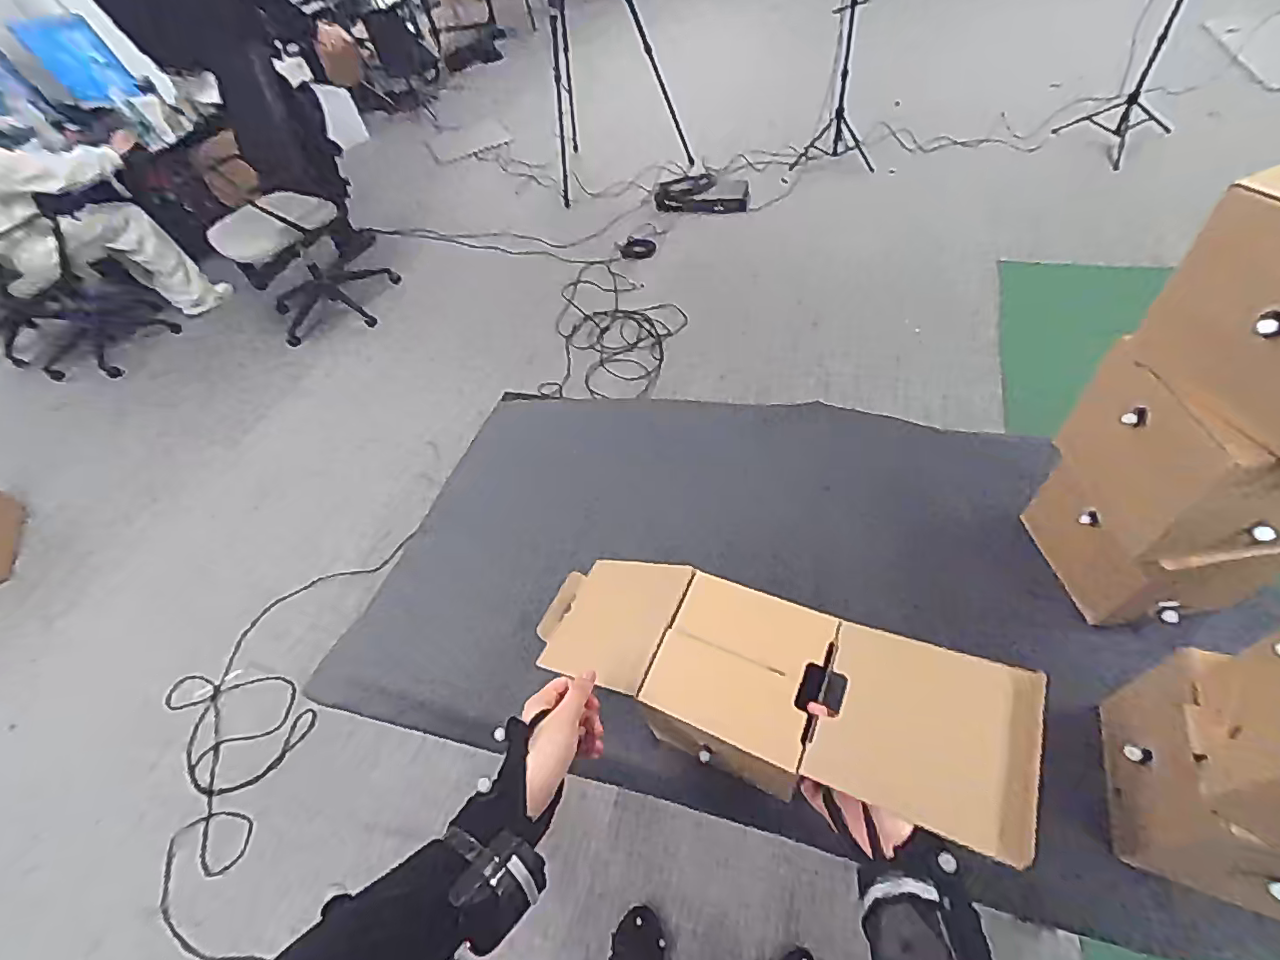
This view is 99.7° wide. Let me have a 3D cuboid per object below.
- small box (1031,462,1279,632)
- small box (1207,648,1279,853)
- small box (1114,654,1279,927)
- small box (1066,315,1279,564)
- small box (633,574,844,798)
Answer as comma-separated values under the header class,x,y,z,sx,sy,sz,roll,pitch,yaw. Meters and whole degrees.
class,x,y,z,sx,sy,sz,roll,pitch,yaw
small box,0.632,0.065,0.666,0.168,0.176,0.179,-11,53,6
small box,0.552,0.199,0.361,0.179,0.176,0.168,34,62,31
small box,0.576,0.292,0.494,0.179,0.176,0.168,13,53,21
small box,0.583,-0.037,0.544,0.168,0.176,0.179,-9,52,9
small box,0.118,0.241,0.625,0.179,0.176,0.168,16,57,25
